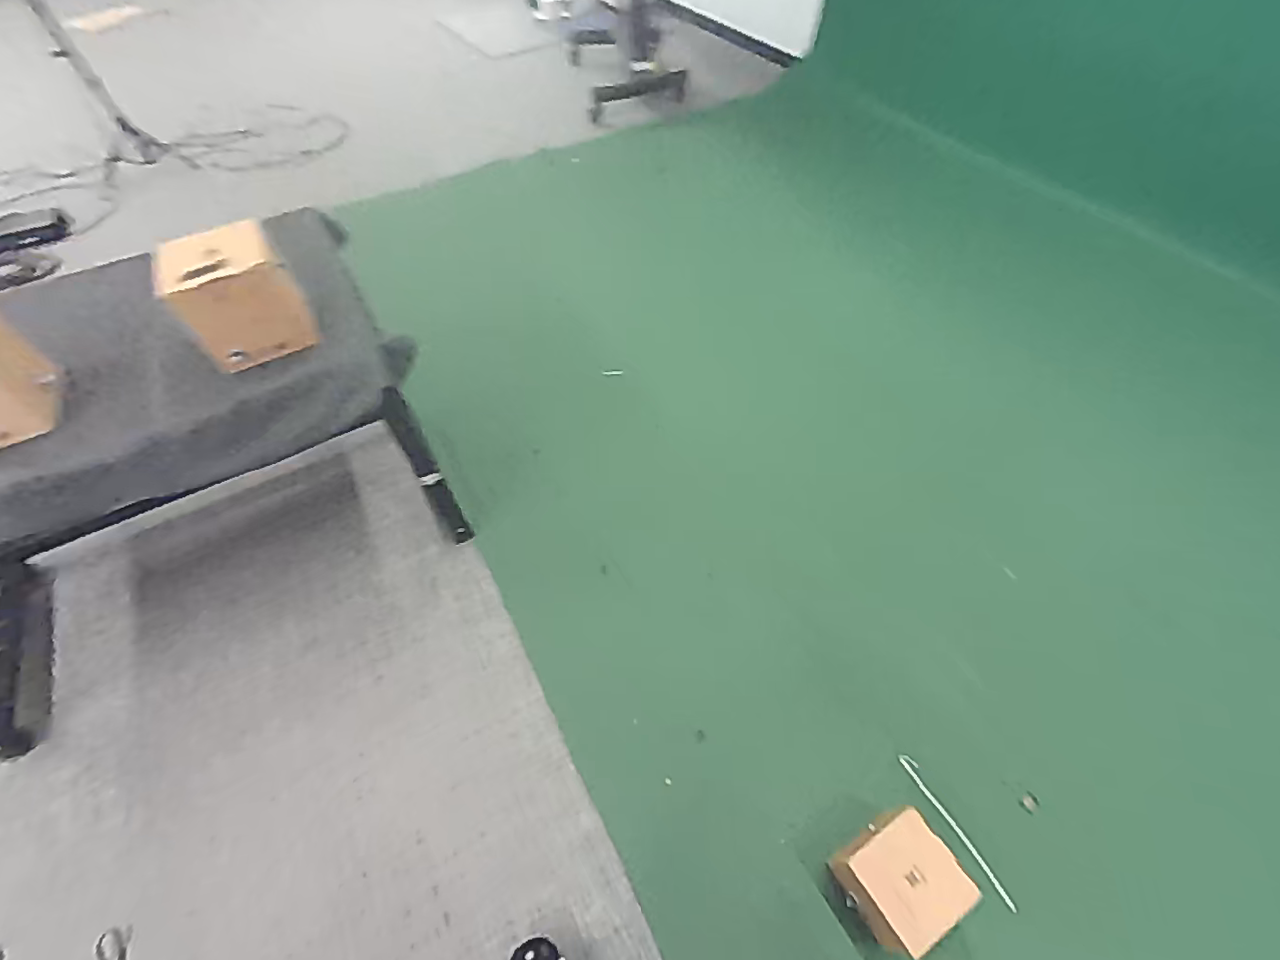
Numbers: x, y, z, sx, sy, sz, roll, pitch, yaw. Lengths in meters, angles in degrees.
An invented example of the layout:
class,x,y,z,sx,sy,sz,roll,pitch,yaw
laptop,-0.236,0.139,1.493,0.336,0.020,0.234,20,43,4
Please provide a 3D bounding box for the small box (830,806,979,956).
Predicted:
class,x,y,z,sx,sy,sz,roll,pitch,yaw
small box,0.502,0.773,1.058,0.179,0.176,0.168,-28,58,-16

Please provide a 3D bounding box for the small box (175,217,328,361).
class,x,y,z,sx,sy,sz,roll,pitch,yaw
small box,-0.699,-0.340,0.987,0.168,0.176,0.179,-25,56,-15
